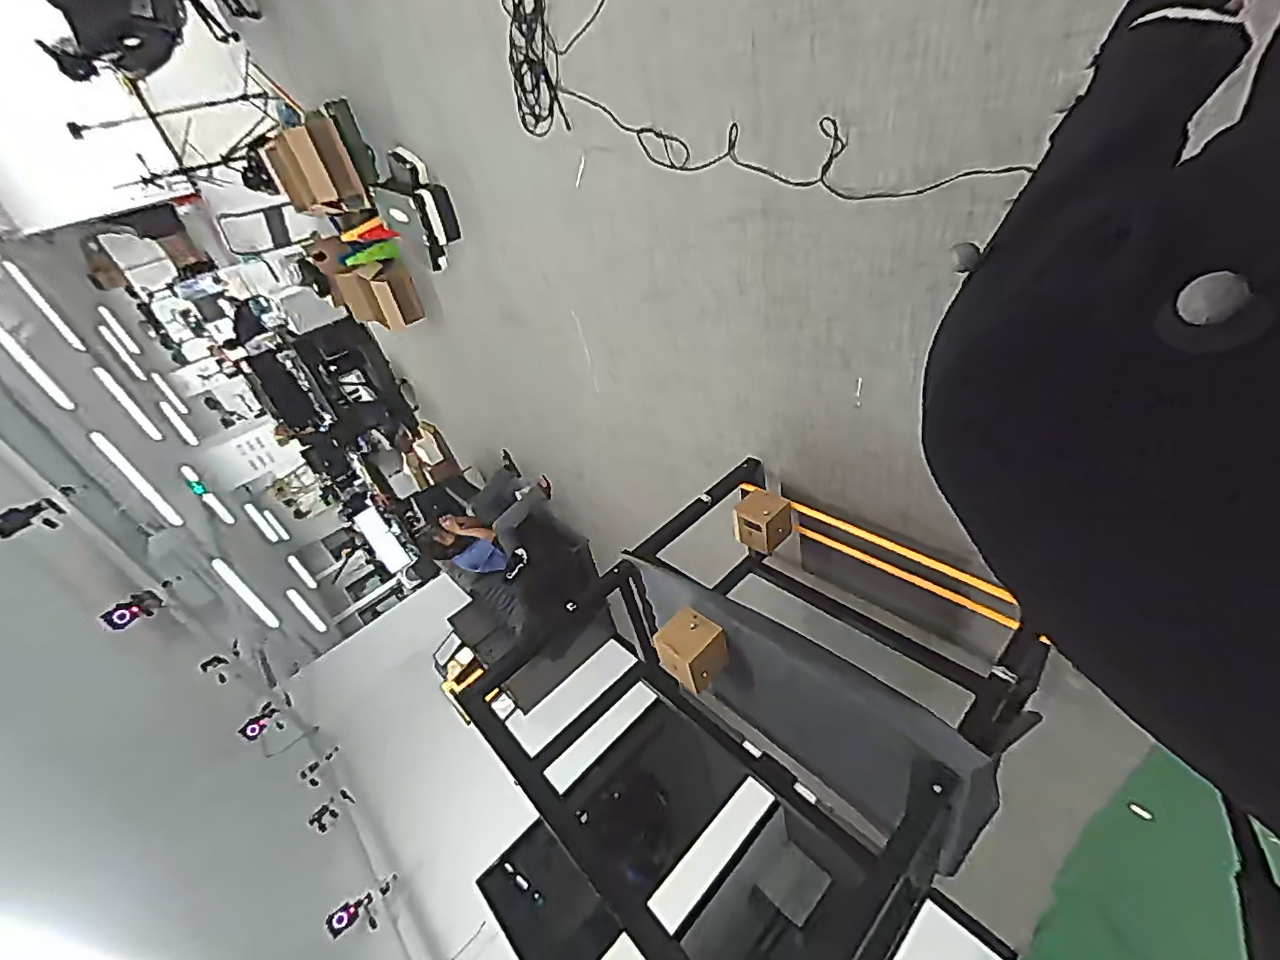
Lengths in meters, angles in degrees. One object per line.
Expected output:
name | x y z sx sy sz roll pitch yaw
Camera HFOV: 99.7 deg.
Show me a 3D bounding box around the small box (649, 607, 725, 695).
small box | 0.160 0.555 1.772 0.168 0.176 0.179 24 141 42
